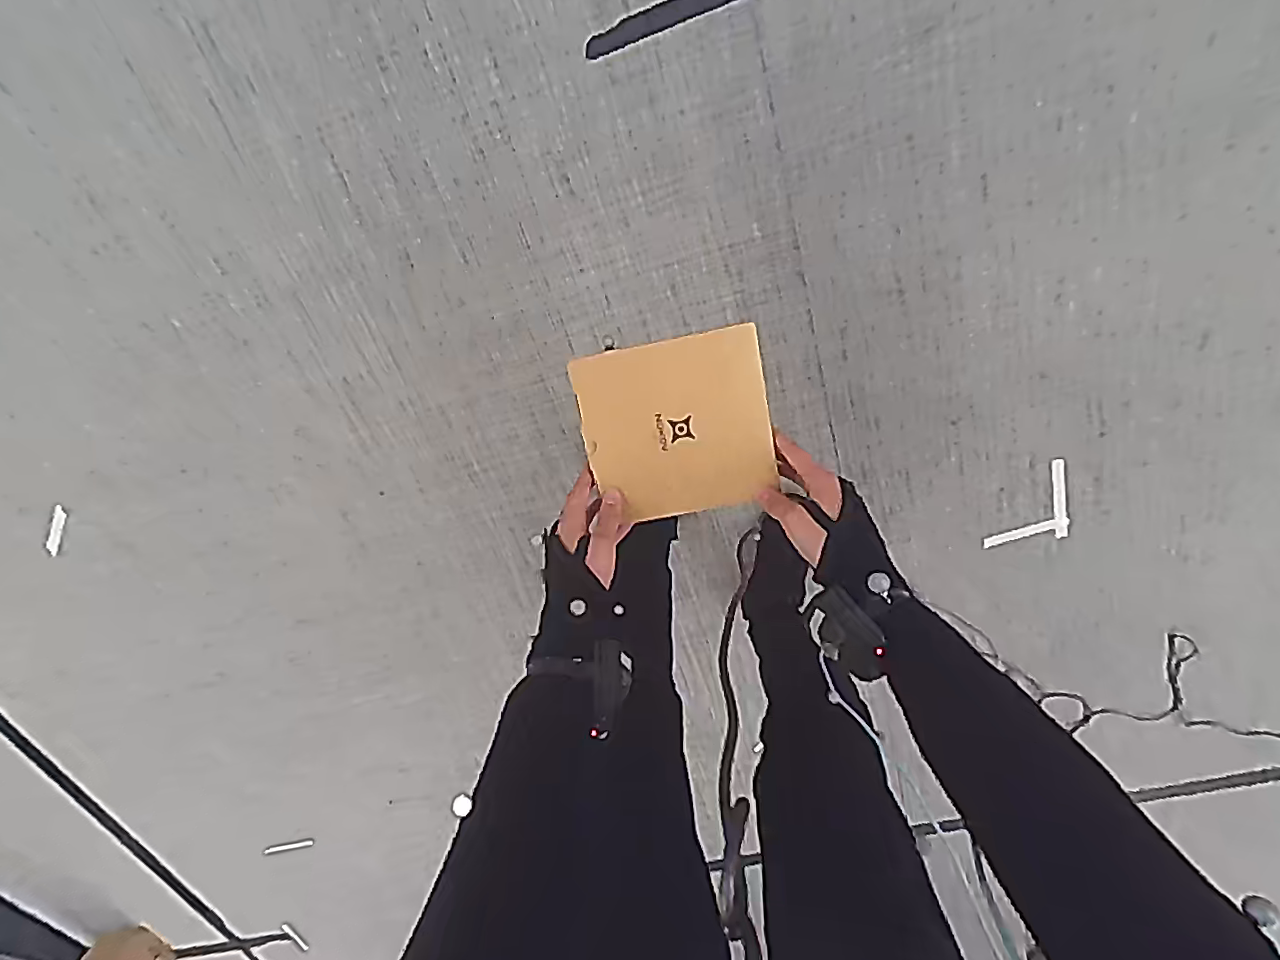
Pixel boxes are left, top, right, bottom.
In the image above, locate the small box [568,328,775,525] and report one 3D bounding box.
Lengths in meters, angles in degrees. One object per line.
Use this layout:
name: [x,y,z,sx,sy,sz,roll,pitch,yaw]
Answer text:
small box: [0.035,-0.068,0.588,0.179,0.176,0.168,-11,104,6]
